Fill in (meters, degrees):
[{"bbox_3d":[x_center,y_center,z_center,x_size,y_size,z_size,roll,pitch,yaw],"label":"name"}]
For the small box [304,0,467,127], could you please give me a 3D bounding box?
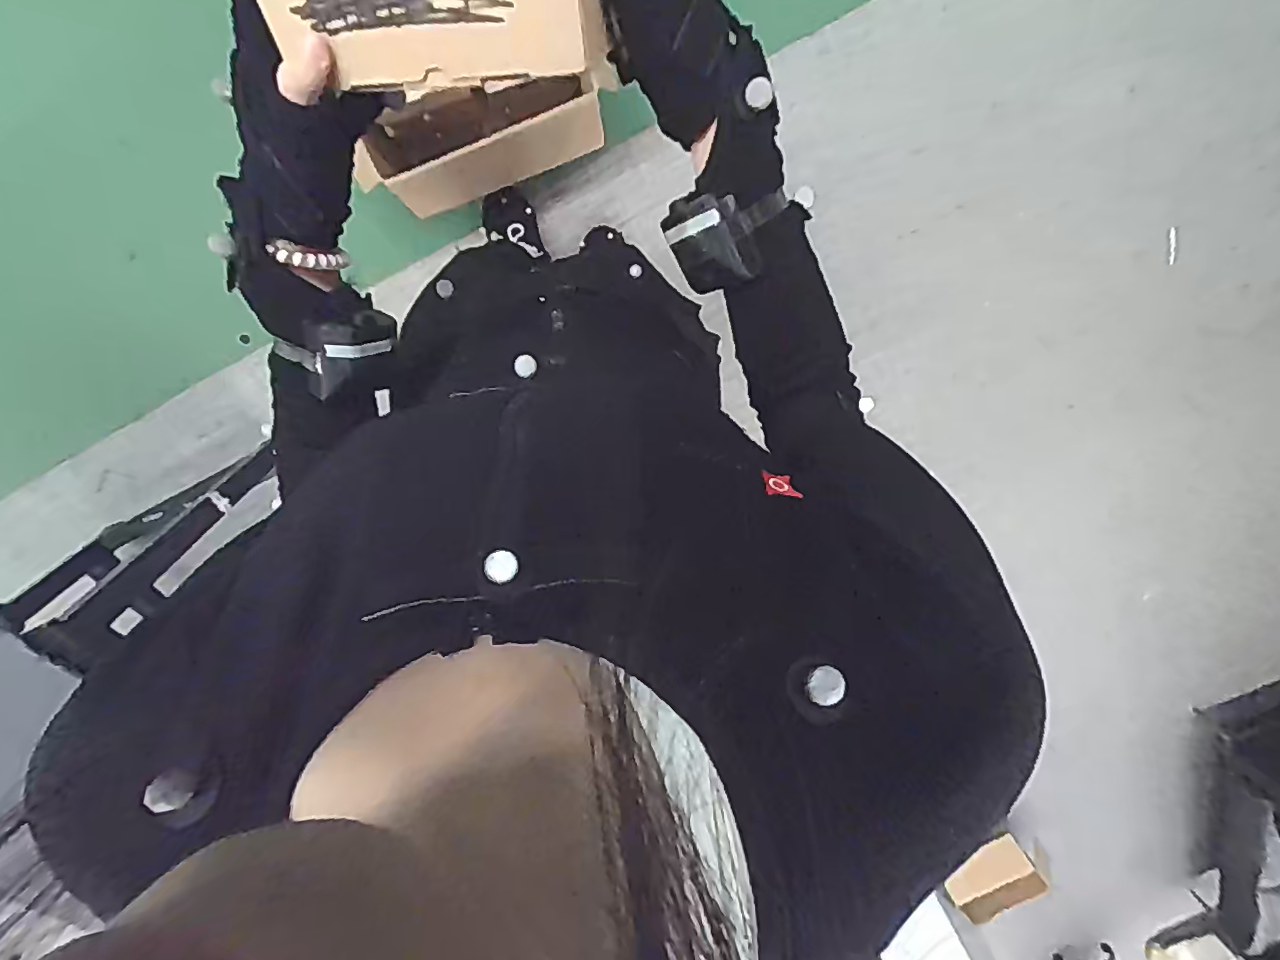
[{"bbox_3d":[-0.403,-0.705,0.880,0.168,0.176,0.179,-17,119,3],"label":"small box"}]
